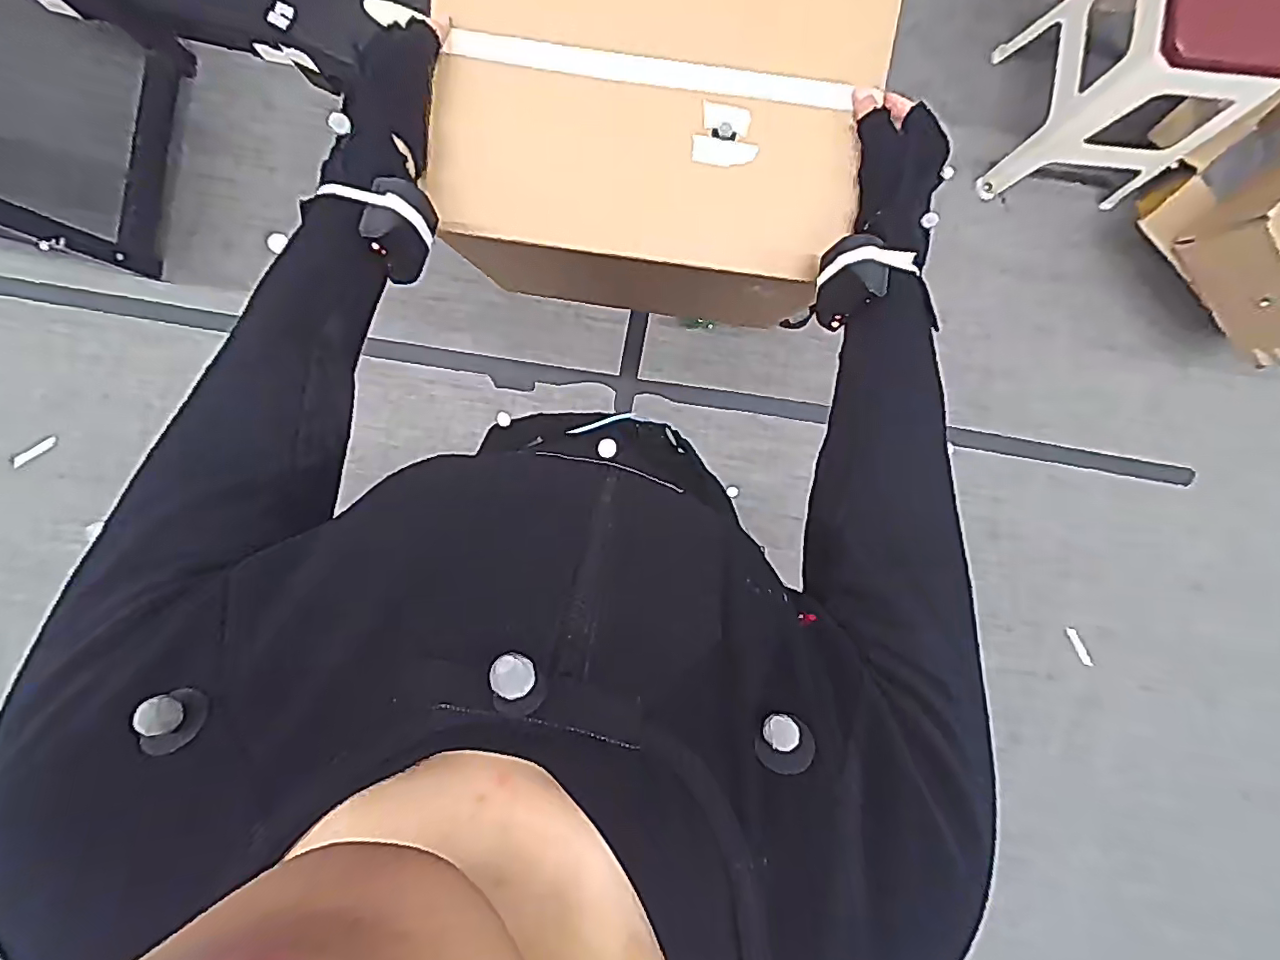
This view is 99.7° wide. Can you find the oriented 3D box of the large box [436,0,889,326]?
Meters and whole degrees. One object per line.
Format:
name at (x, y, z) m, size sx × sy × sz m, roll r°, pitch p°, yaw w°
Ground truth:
large box at (0.015, -0.383, 0.645) m, size 0.408 × 0.320 × 0.320 m, roll 7°, pitch 99°, yaw -2°
